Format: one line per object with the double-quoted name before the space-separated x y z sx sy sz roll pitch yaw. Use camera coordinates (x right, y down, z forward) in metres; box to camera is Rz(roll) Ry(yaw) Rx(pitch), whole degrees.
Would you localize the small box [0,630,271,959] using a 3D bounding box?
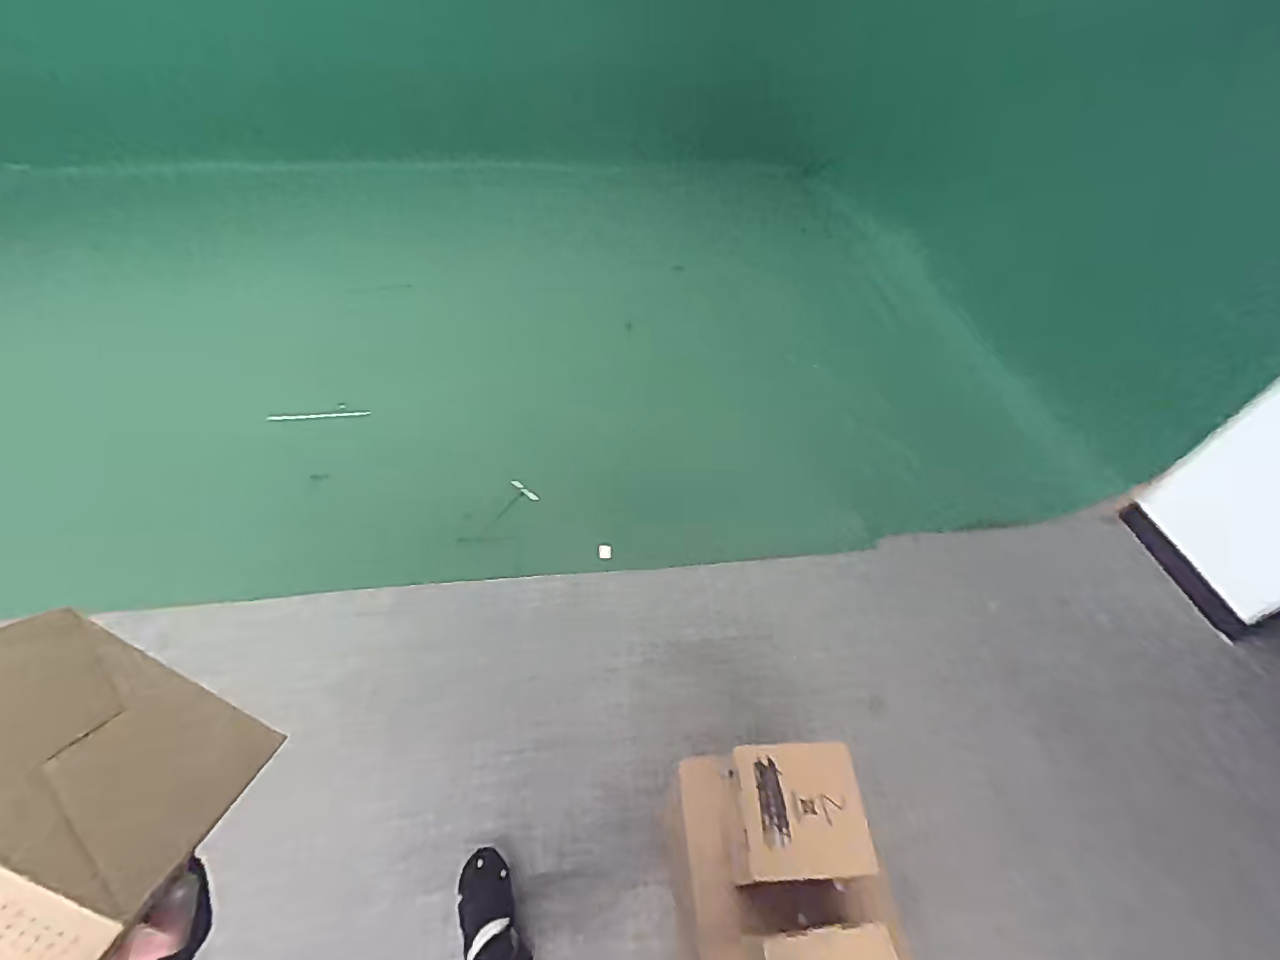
"small box" -0.368 0.215 0.304 0.179 0.168 0.176 38 87 -11
